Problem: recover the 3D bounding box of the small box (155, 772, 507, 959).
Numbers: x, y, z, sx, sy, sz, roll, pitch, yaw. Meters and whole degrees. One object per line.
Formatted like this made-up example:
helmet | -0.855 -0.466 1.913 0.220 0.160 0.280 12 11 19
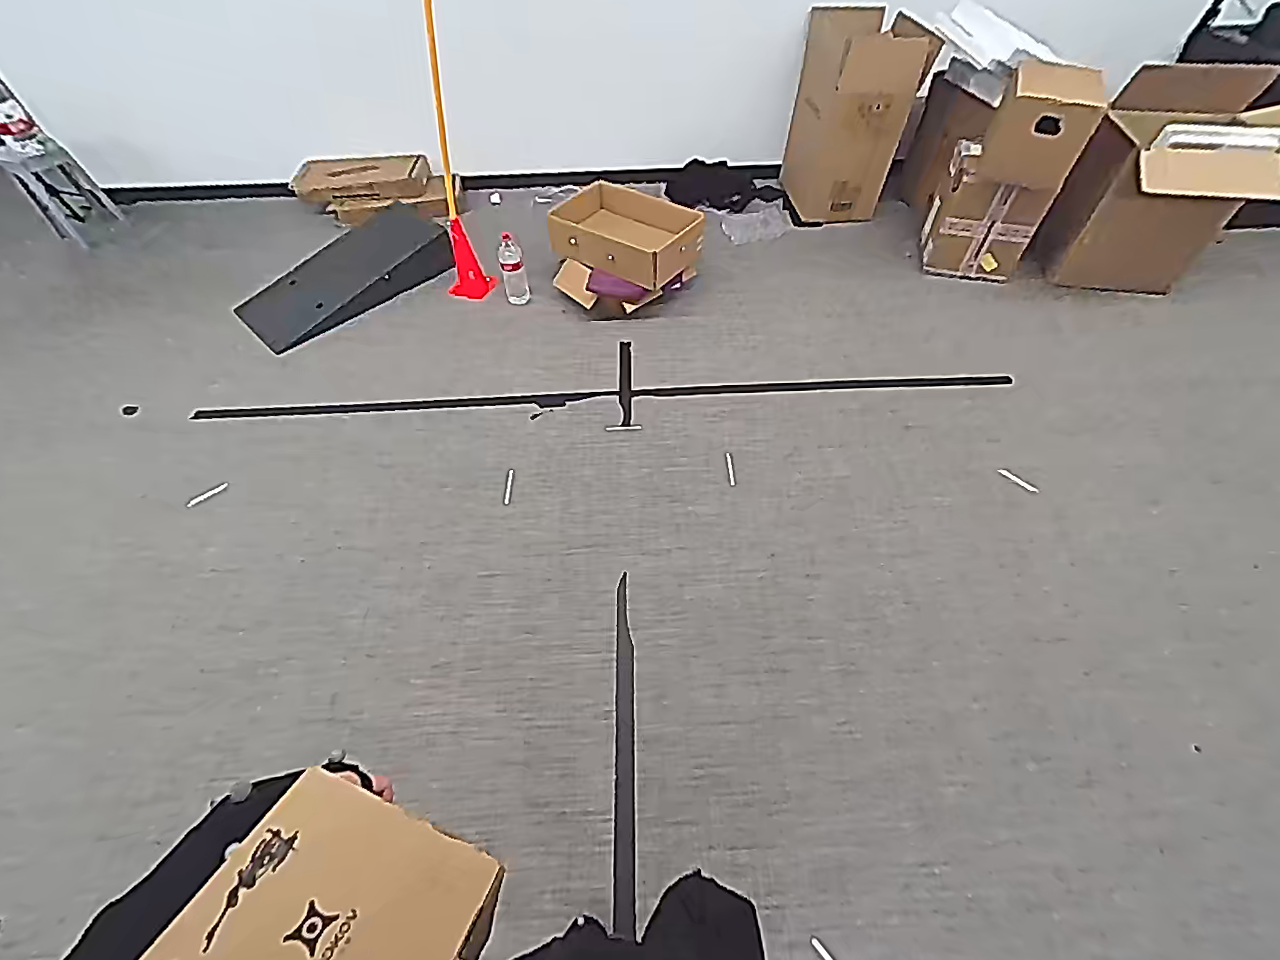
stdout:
small box | -0.224 0.367 0.404 0.179 0.176 0.168 22 35 7
